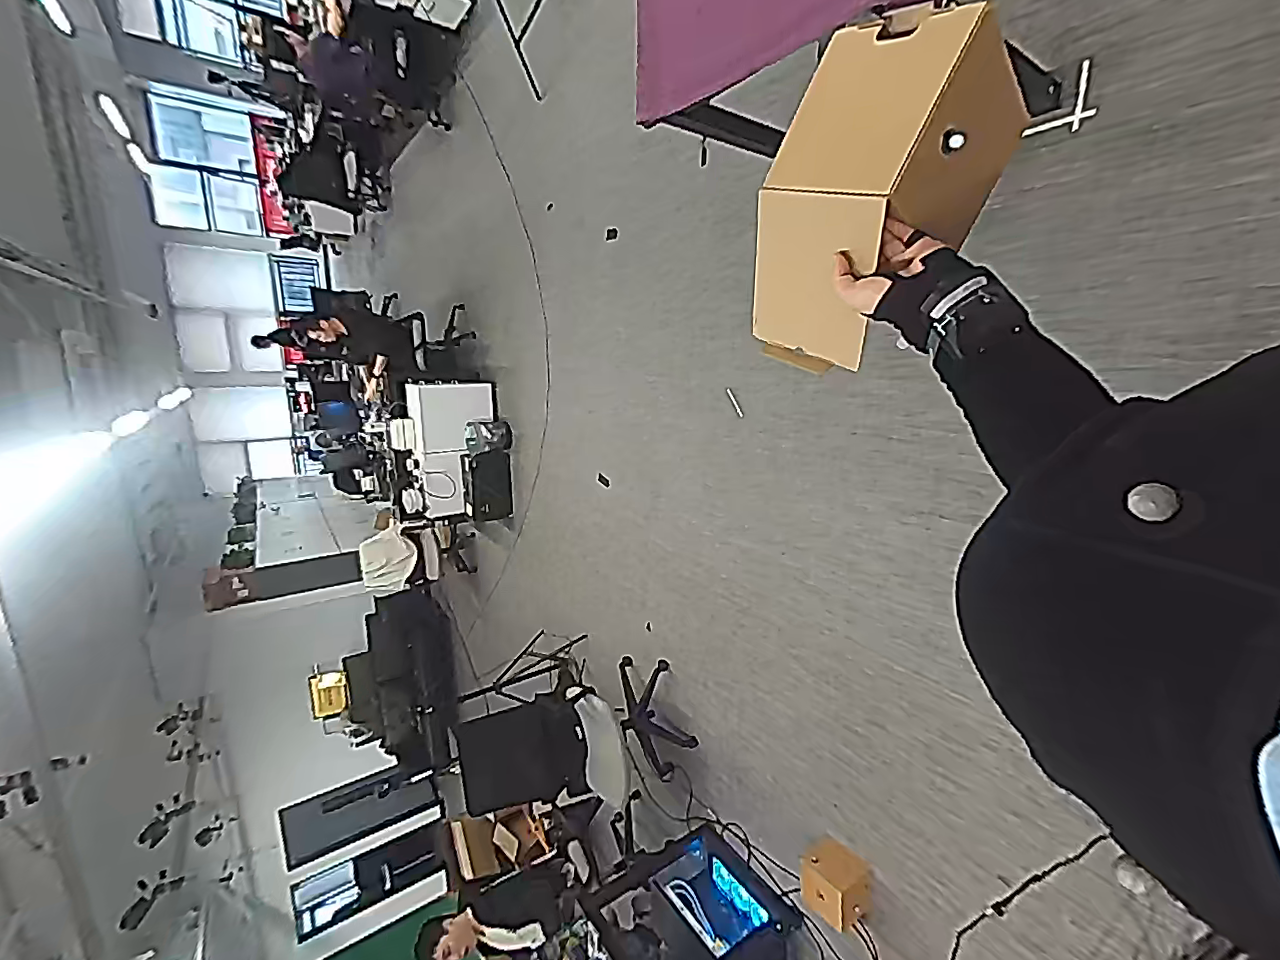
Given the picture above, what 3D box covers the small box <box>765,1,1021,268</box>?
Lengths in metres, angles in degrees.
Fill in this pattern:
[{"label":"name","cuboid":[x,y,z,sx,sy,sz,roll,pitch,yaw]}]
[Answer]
[{"label":"small box","cuboid":[0.279,-0.358,0.595,0.168,0.176,0.179,37,106,45]}]
